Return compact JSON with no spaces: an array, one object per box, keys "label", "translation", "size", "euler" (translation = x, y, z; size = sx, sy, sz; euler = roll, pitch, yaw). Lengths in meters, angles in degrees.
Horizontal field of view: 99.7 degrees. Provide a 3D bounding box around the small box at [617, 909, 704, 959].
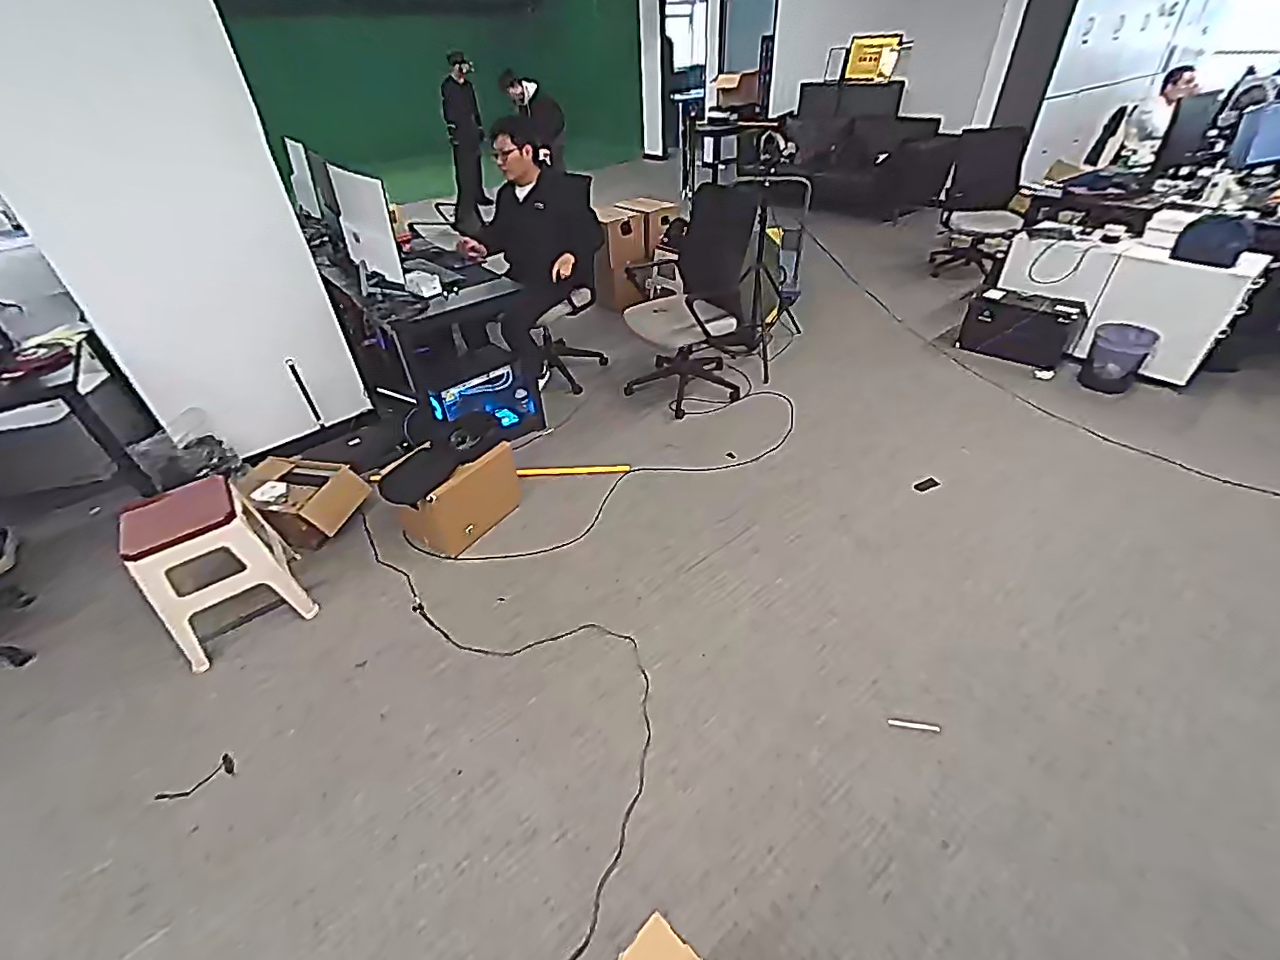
[{"label":"small box","translation":[0.028,0.800,0.797],"size":[0.168,0.176,0.179],"euler":[29,48,35]}]
